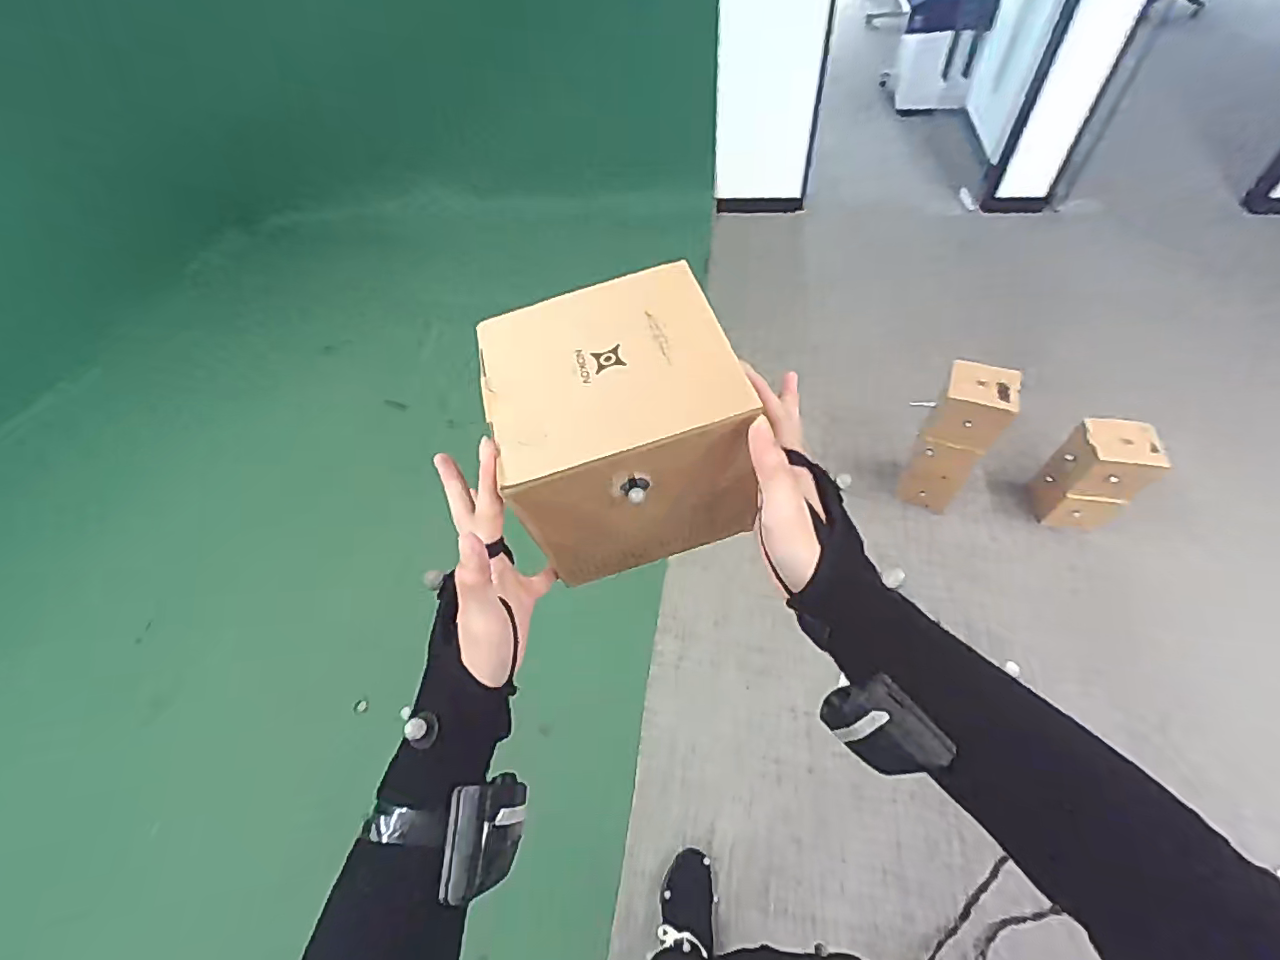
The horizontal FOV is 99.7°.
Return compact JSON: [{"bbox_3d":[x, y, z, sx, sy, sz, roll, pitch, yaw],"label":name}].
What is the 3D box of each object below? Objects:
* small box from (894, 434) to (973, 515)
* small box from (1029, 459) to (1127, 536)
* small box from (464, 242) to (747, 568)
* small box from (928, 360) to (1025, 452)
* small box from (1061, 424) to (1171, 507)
[{"bbox_3d":[0.964,-0.014,1.789,0.168,0.176,0.179,25,60,20],"label":"small box"},{"bbox_3d":[1.372,0.059,1.707,0.168,0.176,0.179,7,55,10],"label":"small box"},{"bbox_3d":[-0.020,-0.048,0.429,0.179,0.176,0.168,-15,57,1],"label":"small box"},{"bbox_3d":[0.943,-0.203,1.522,0.179,0.176,0.168,19,58,18],"label":"small box"},{"bbox_3d":[1.368,-0.039,1.575,0.179,0.176,0.168,9,55,11],"label":"small box"}]
